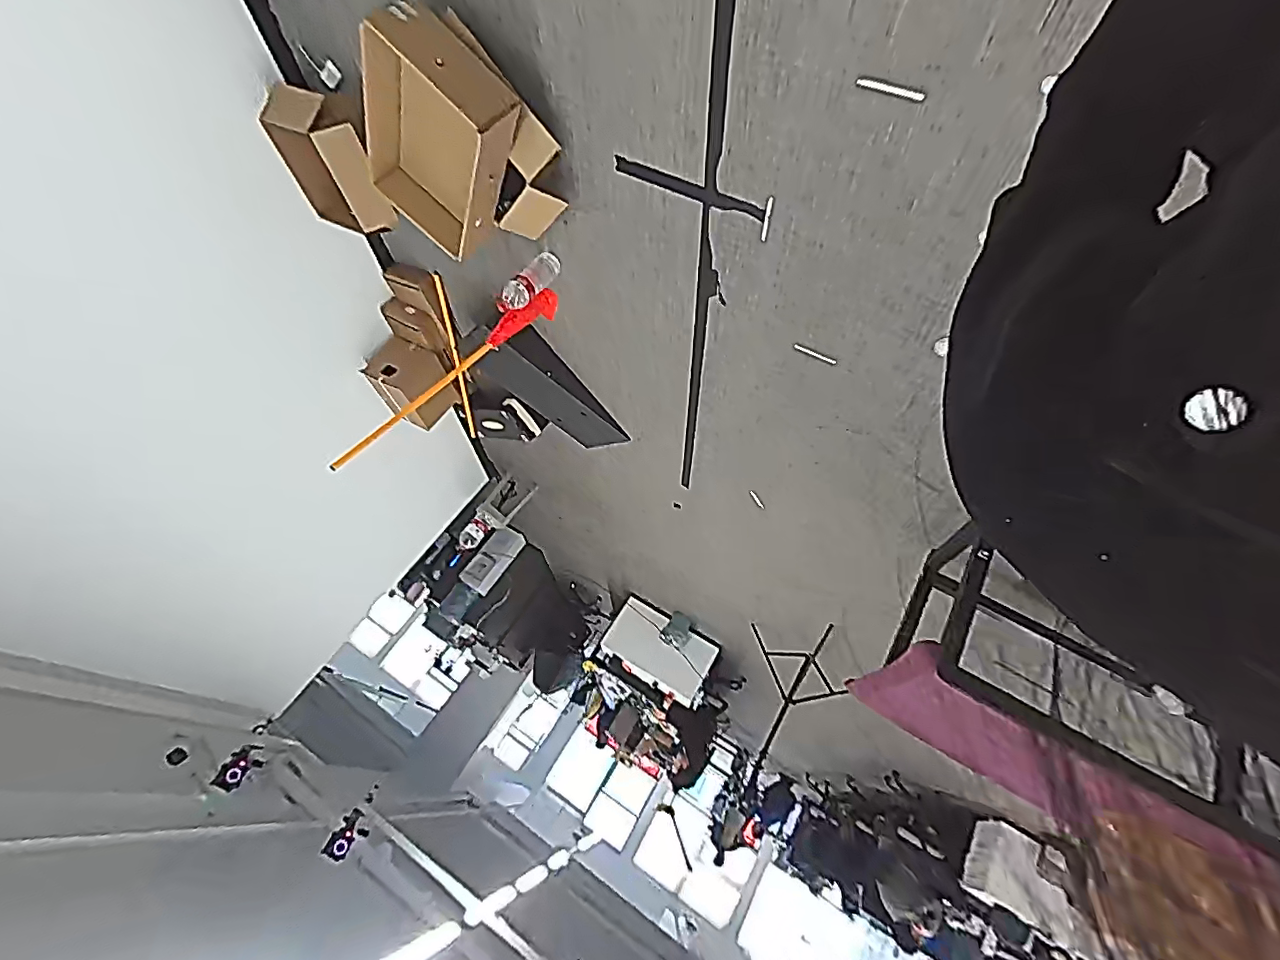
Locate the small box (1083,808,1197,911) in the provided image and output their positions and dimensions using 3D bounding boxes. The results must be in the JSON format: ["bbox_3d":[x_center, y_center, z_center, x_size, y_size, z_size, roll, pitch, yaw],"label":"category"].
[{"bbox_3d":[1.425,1.070,1.540,0.179,0.176,0.168,28,154,19],"label":"small box"}]

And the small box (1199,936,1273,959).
[{"bbox_3d":[1.592,1.327,1.389,0.179,0.176,0.168,26,154,22],"label":"small box"}]

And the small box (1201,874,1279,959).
[{"bbox_3d":[1.675,1.200,1.452,0.168,0.176,0.179,26,154,20],"label":"small box"}]

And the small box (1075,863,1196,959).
[{"bbox_3d":[1.339,1.183,1.462,0.179,0.176,0.168,30,153,17],"label":"small box"}]
